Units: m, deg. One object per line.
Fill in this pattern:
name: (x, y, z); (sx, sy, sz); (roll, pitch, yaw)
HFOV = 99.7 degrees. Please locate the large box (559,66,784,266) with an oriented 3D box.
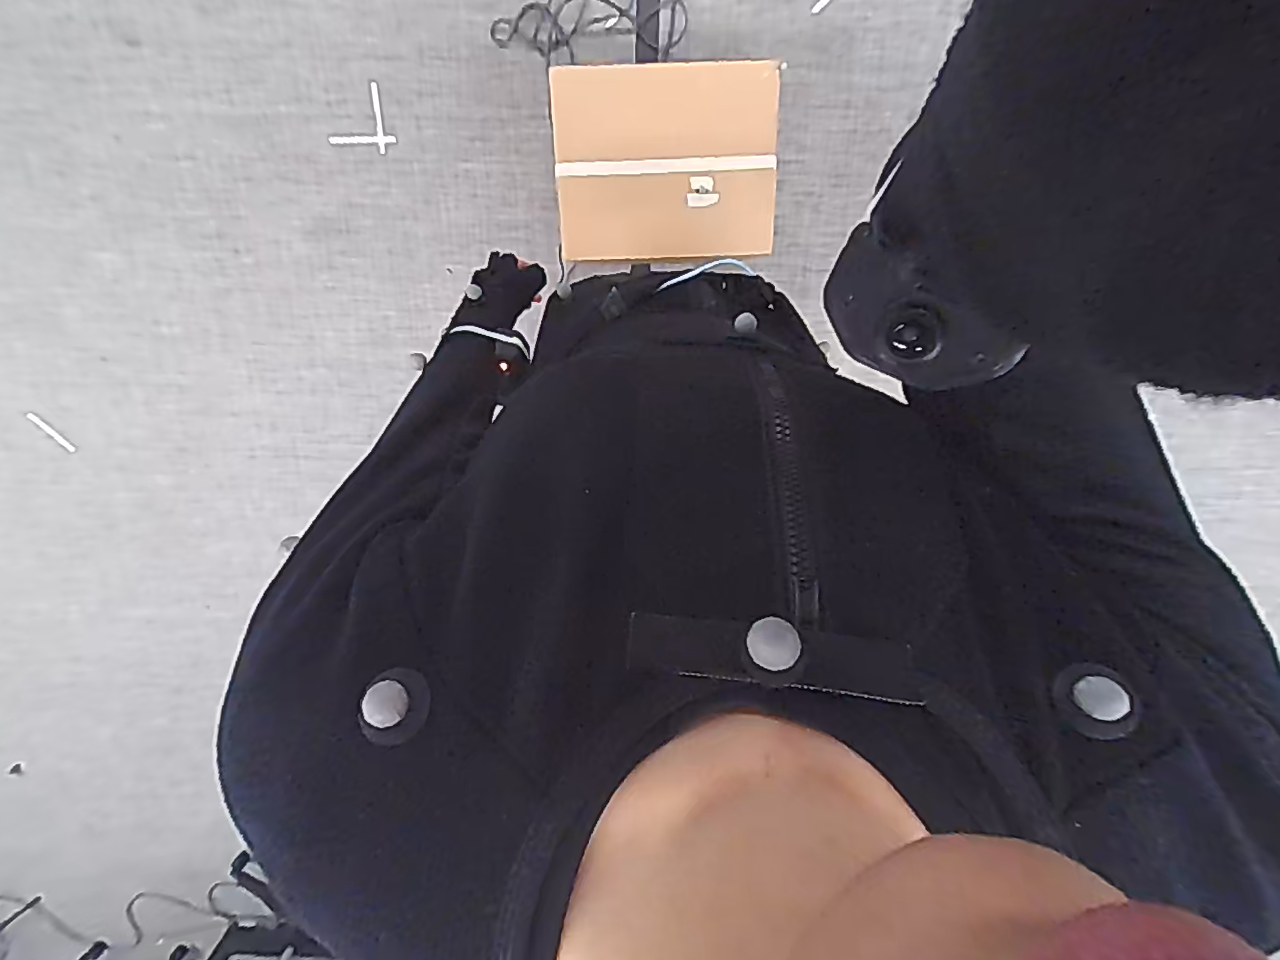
large box: (0.056, -0.627, 1.138); (0.408, 0.320, 0.320); (-1, 111, -1)
